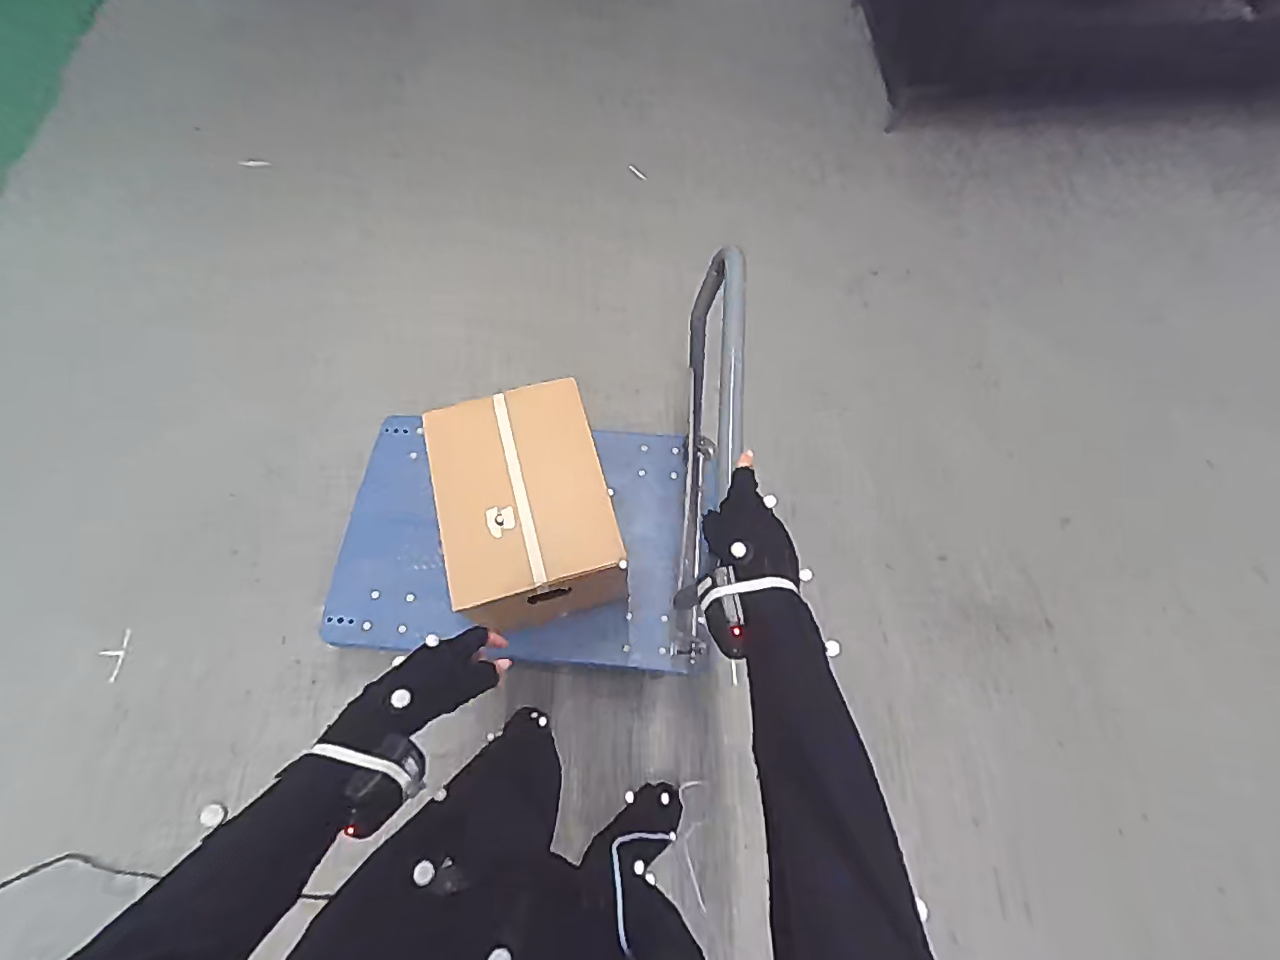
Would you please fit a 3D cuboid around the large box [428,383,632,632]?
[{"bbox_3d":[-0.222,0.069,1.160,0.320,0.320,0.408,-16,68,-6],"label":"large box"}]
